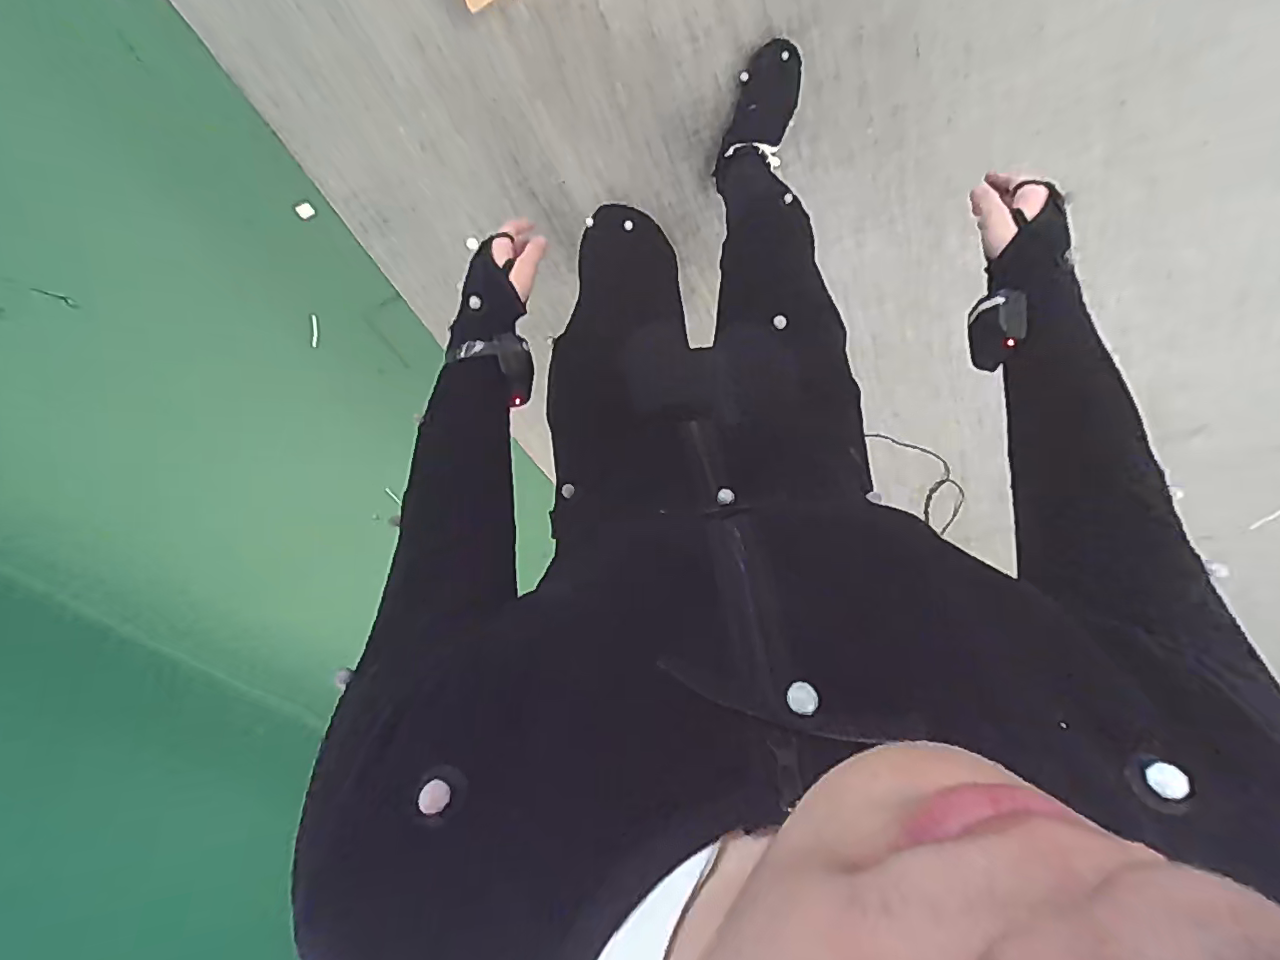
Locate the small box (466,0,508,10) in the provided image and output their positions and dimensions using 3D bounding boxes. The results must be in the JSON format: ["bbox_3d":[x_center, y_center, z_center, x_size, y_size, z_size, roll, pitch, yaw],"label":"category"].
[{"bbox_3d":[-0.242,-0.945,0.918,0.179,0.176,0.168,-17,130,21],"label":"small box"}]
